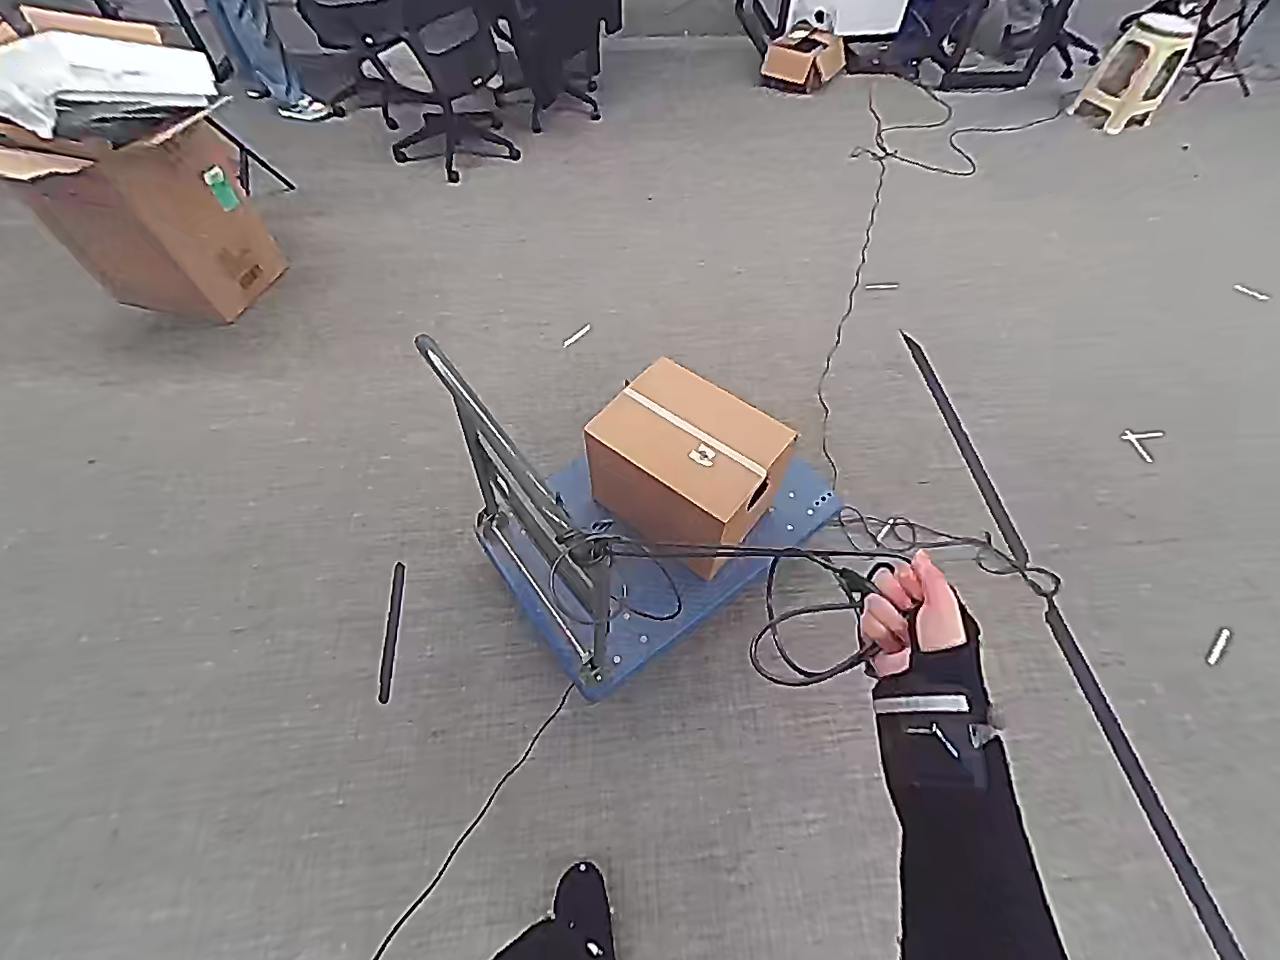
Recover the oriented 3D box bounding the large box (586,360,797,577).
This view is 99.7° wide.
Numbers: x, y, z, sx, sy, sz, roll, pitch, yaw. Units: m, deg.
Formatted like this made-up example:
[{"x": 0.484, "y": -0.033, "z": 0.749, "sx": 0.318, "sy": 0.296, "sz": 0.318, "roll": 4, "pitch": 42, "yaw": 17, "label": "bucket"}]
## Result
[{"x": 0.115, "y": -0.030, "z": 1.380, "sx": 0.408, "sy": 0.320, "sz": 0.320, "roll": 34, "pitch": 63, "yaw": 19, "label": "large box"}]
